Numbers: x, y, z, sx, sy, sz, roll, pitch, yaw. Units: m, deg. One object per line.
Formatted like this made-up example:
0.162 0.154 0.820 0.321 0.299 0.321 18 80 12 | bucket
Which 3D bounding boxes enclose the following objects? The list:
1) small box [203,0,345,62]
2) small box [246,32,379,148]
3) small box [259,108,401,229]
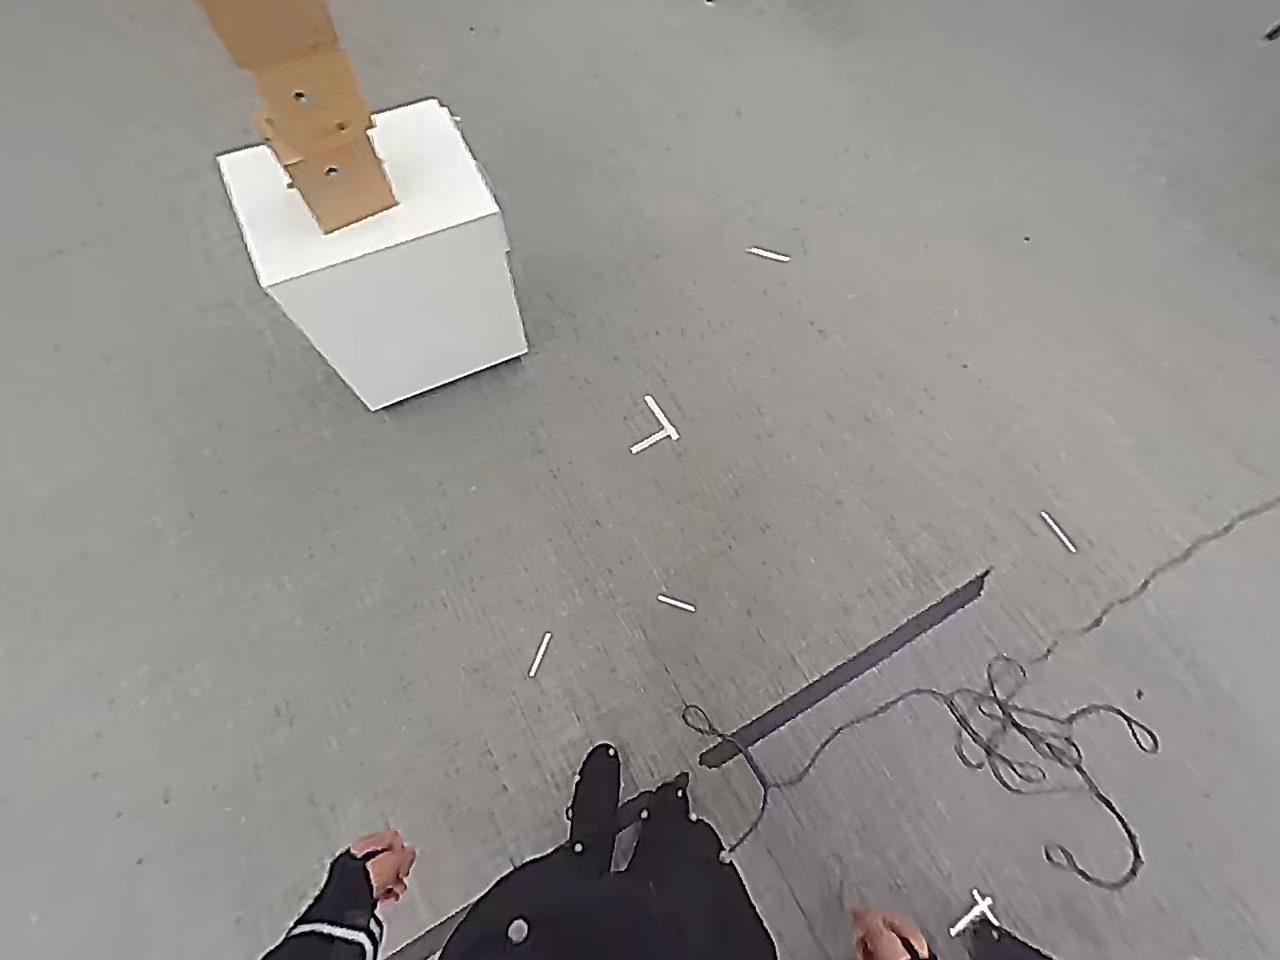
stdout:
-0.597 -0.792 0.831 0.179 0.176 0.168 -28 74 -13 | small box
-0.612 -0.747 0.990 0.168 0.176 0.179 -30 74 -14 | small box
-0.636 -0.666 1.132 0.179 0.176 0.168 -31 75 -15 | small box
